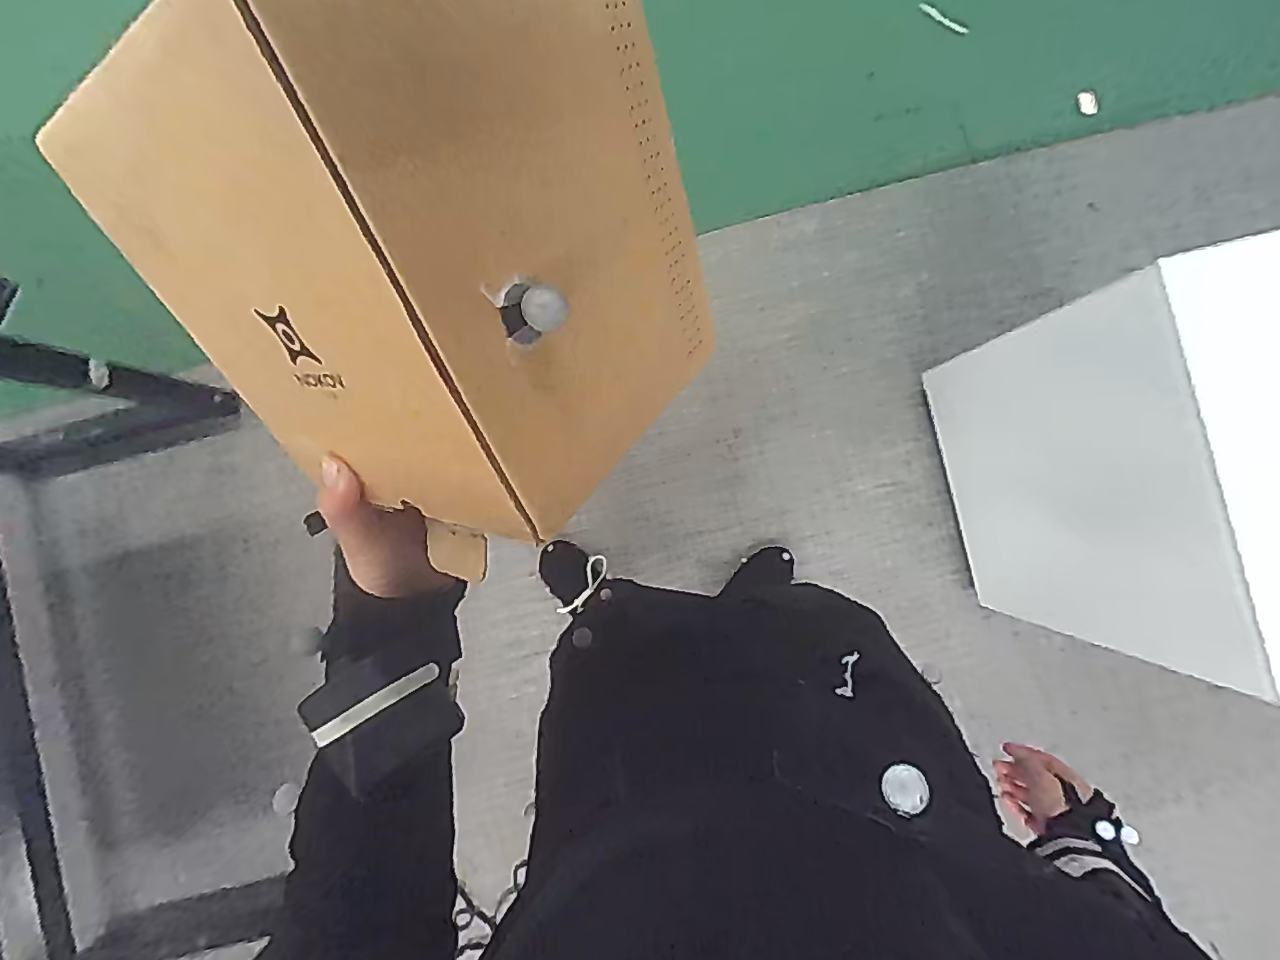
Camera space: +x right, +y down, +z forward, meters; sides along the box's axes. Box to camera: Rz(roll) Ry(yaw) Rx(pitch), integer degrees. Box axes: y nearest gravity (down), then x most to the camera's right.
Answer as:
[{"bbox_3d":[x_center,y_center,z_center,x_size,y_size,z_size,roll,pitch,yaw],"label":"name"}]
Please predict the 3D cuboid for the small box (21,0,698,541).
[{"bbox_3d":[-0.093,-0.101,0.249,0.168,0.179,0.176,6,44,33],"label":"small box"}]
